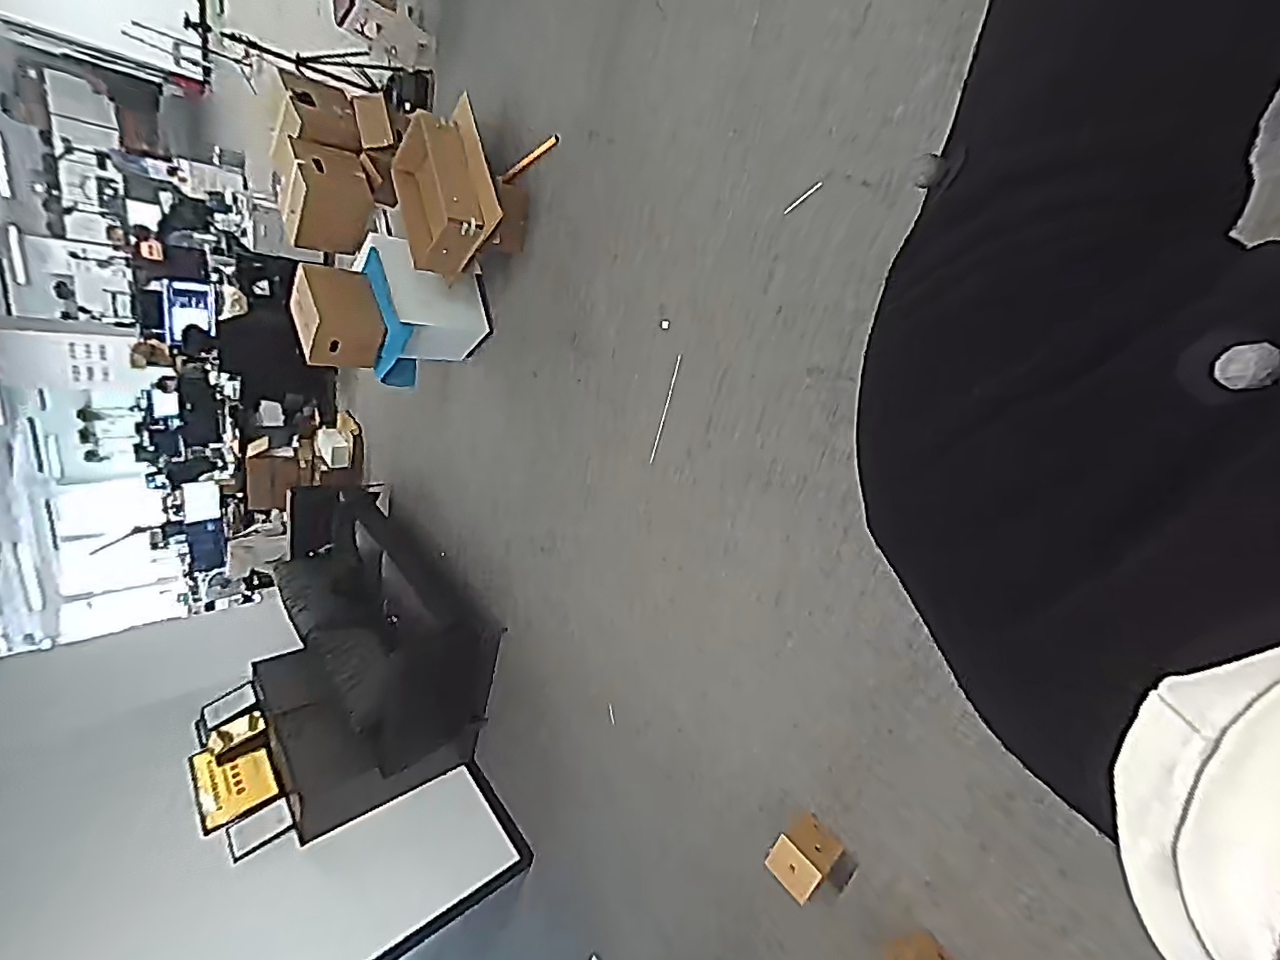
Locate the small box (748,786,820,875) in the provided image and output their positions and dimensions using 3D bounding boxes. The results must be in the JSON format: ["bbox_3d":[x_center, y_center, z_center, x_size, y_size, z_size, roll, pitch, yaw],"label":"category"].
[{"bbox_3d":[0.523,1.253,1.948,0.168,0.176,0.179,35,121,35],"label":"small box"}]
